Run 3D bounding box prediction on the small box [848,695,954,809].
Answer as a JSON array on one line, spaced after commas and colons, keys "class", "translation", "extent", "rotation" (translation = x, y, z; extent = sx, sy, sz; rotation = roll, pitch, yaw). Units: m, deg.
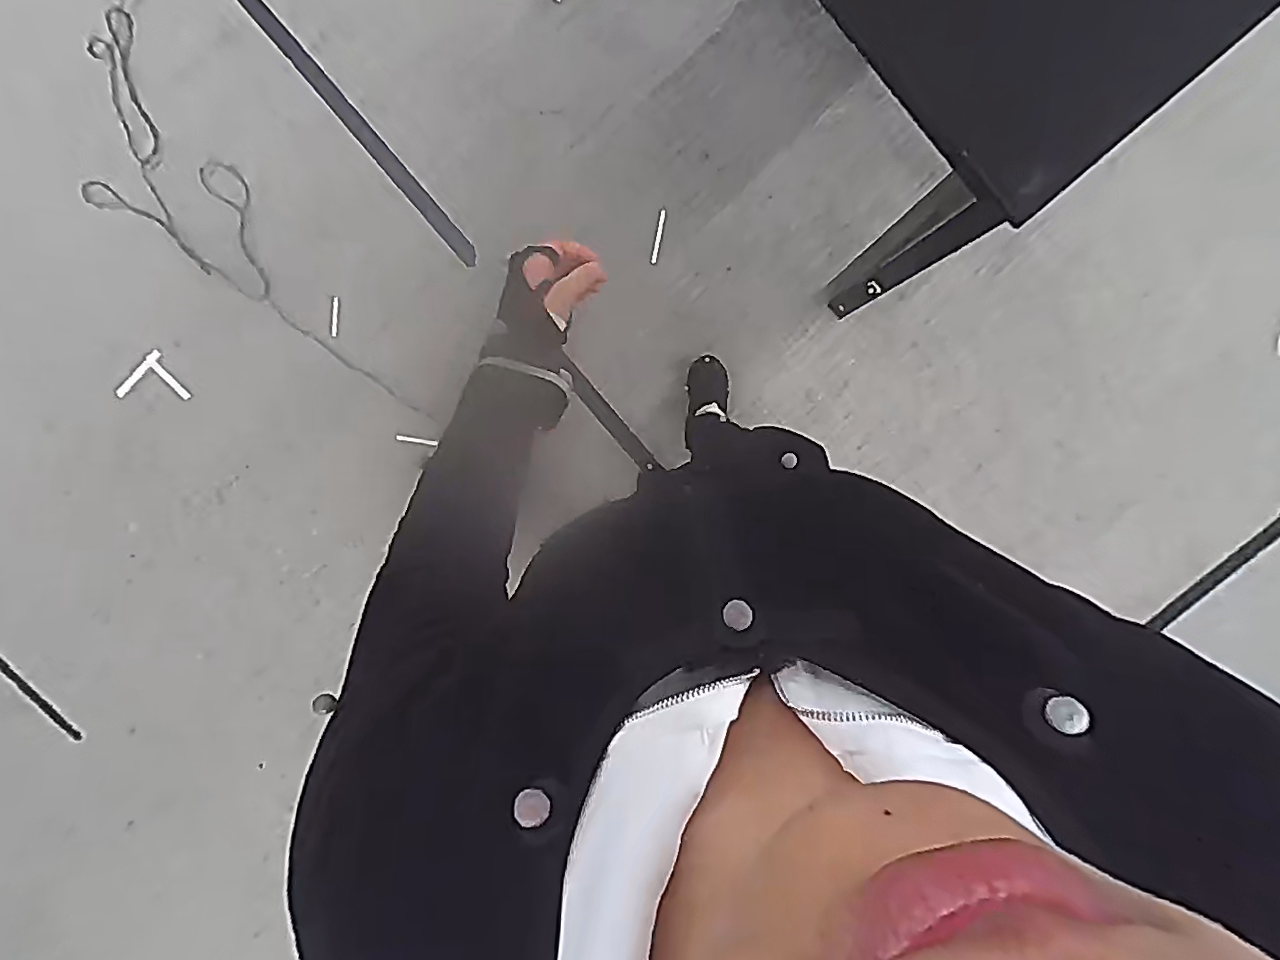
[{"class": "small box", "translation": [0.690, 0.725, 1.460], "extent": [0.179, 0.176, 0.168], "rotation": [-42, 93, 4]}]
